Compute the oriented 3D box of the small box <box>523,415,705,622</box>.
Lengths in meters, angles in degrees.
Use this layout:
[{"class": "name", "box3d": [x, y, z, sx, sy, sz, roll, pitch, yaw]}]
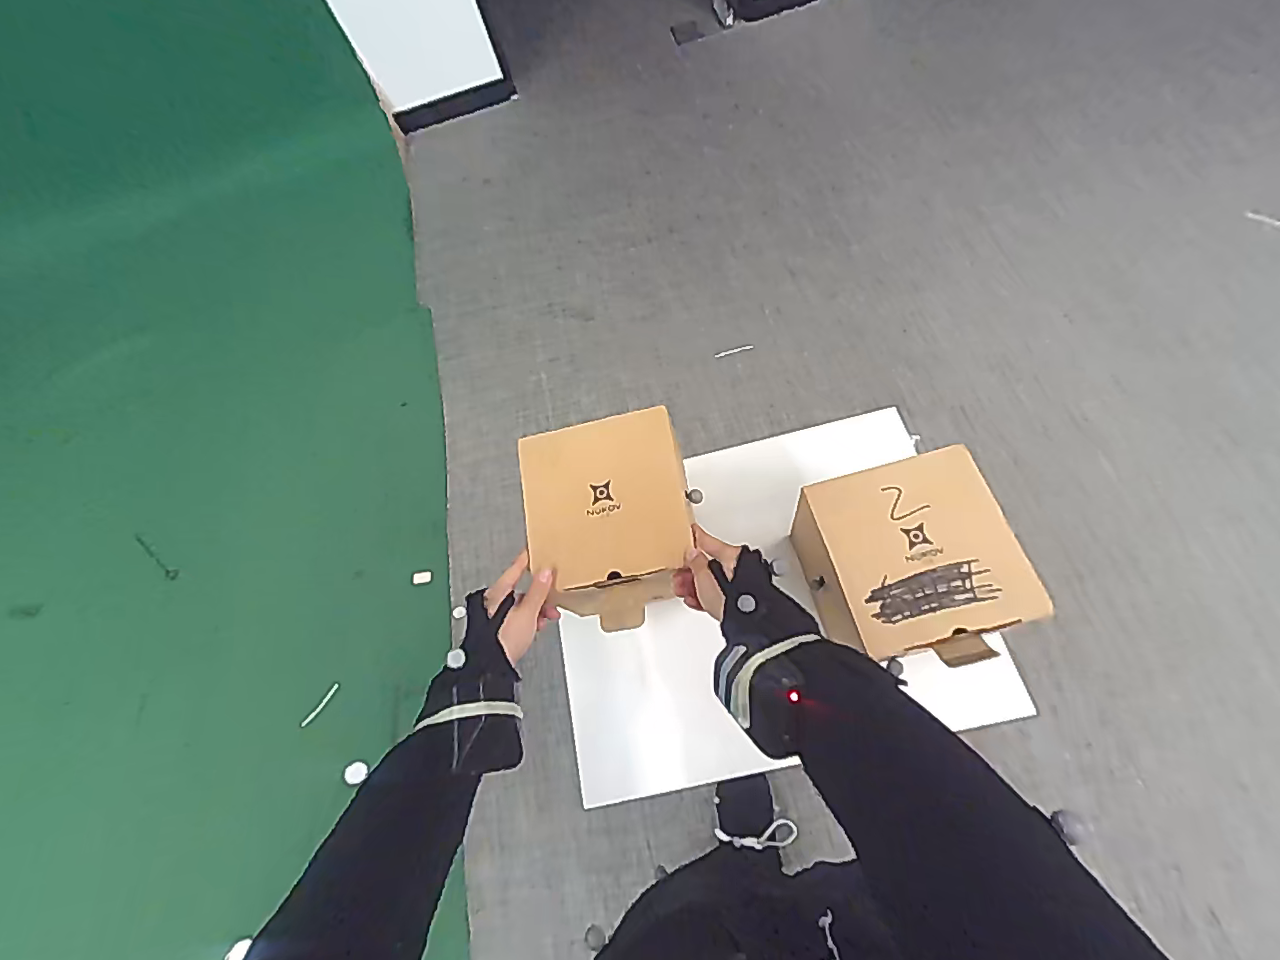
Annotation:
[{"class": "small box", "box3d": [-0.024, 0.053, 0.620, 0.168, 0.176, 0.179, -12, 68, 5]}]
